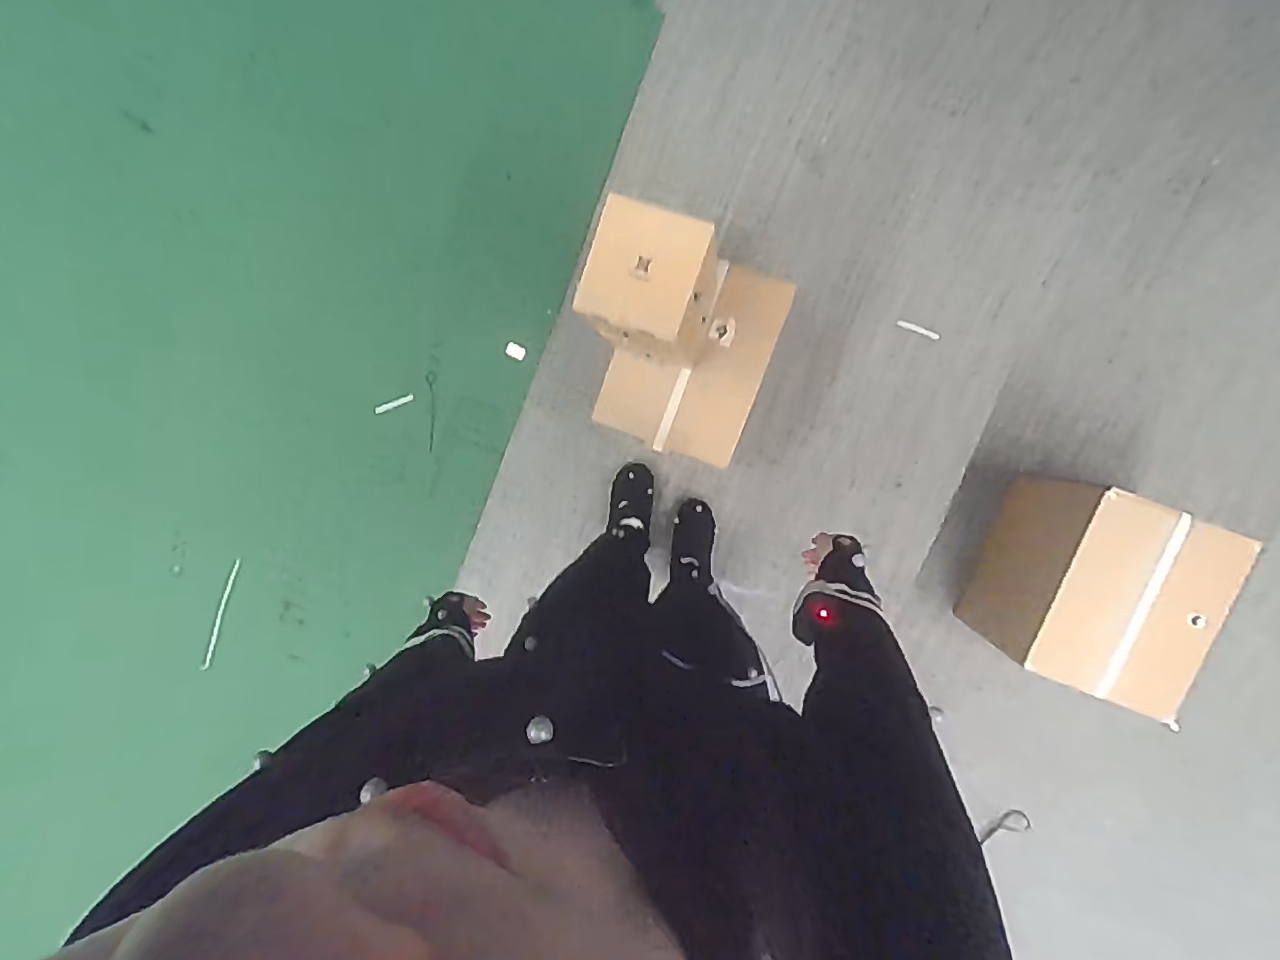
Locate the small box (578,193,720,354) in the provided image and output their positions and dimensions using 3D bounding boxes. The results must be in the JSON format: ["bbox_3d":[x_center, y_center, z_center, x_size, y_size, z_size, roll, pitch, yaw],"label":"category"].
[{"bbox_3d":[0.020,-0.318,0.868,0.168,0.176,0.179,21,98,7],"label":"small box"}]

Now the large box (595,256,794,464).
[{"bbox_3d":[0.126,-0.277,1.272,0.320,0.320,0.408,21,97,4],"label":"large box"}]
